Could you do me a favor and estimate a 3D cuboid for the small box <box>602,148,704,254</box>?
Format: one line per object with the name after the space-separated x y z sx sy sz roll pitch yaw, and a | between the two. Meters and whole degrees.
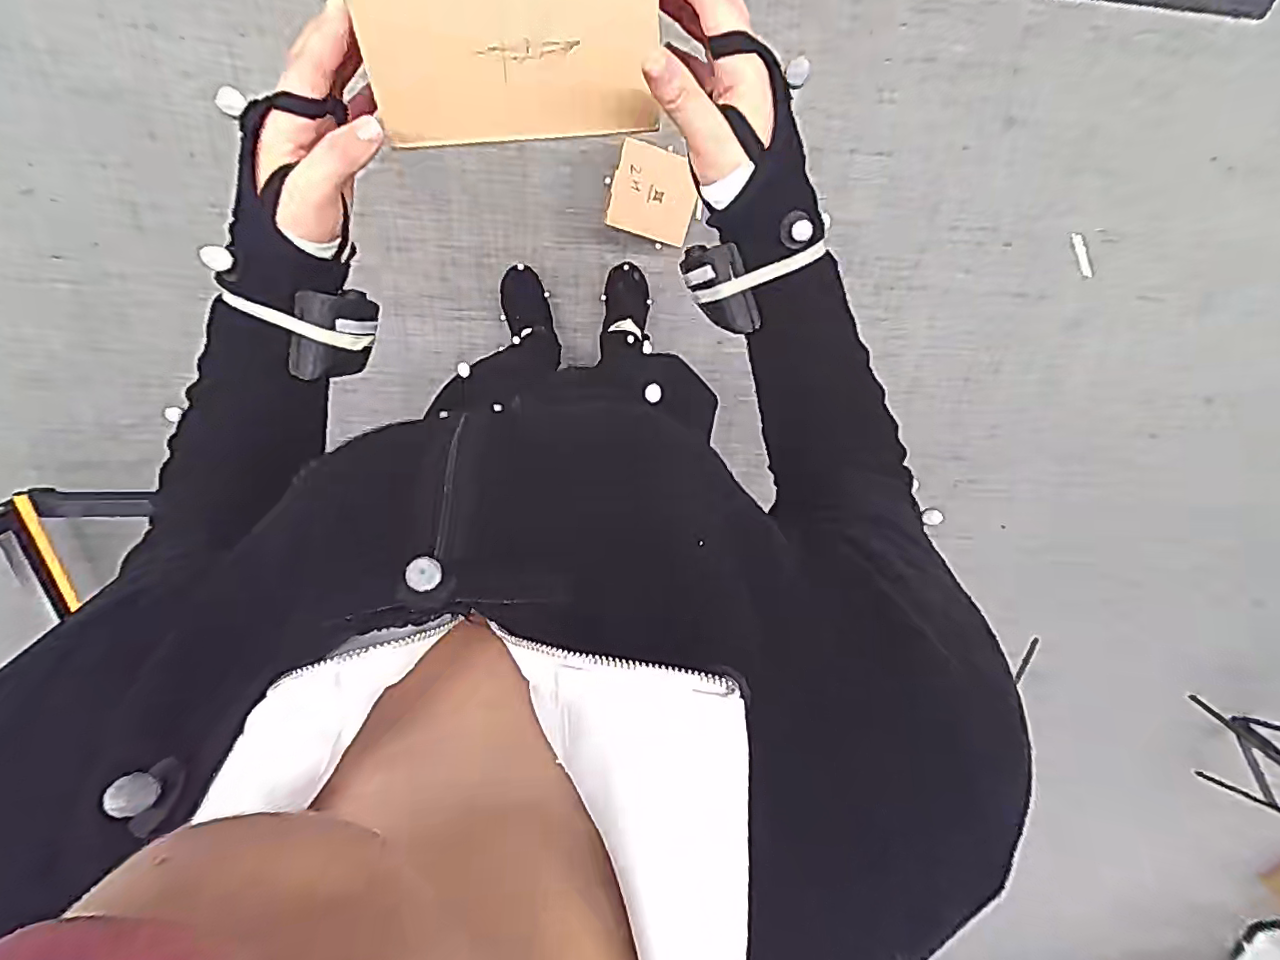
0.020 -0.619 1.202 0.179 0.176 0.168 13 114 -12 | small box

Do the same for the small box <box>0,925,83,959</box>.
-1.284 1.026 1.080 0.179 0.176 0.168 1 116 -6 | small box

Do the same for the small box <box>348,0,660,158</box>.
-0.082 -0.319 0.333 0.168 0.176 0.179 -6 134 -5 | small box
